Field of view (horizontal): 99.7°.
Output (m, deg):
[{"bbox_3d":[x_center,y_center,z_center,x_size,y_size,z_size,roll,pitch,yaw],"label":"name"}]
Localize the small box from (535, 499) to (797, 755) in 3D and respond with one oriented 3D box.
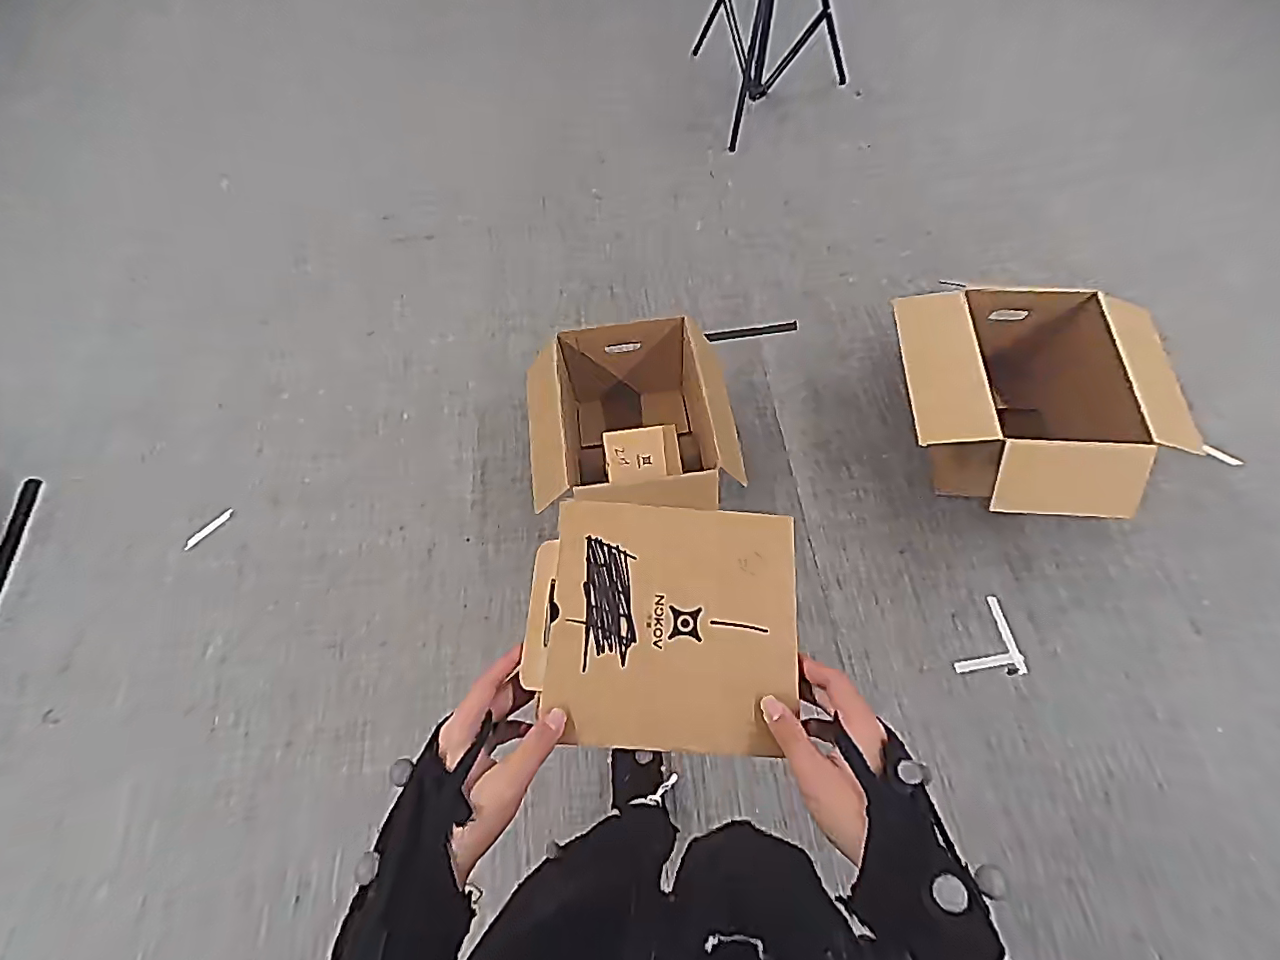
[{"bbox_3d":[0.020,0.124,0.455,0.179,0.176,0.168,5,71,-1],"label":"small box"}]
